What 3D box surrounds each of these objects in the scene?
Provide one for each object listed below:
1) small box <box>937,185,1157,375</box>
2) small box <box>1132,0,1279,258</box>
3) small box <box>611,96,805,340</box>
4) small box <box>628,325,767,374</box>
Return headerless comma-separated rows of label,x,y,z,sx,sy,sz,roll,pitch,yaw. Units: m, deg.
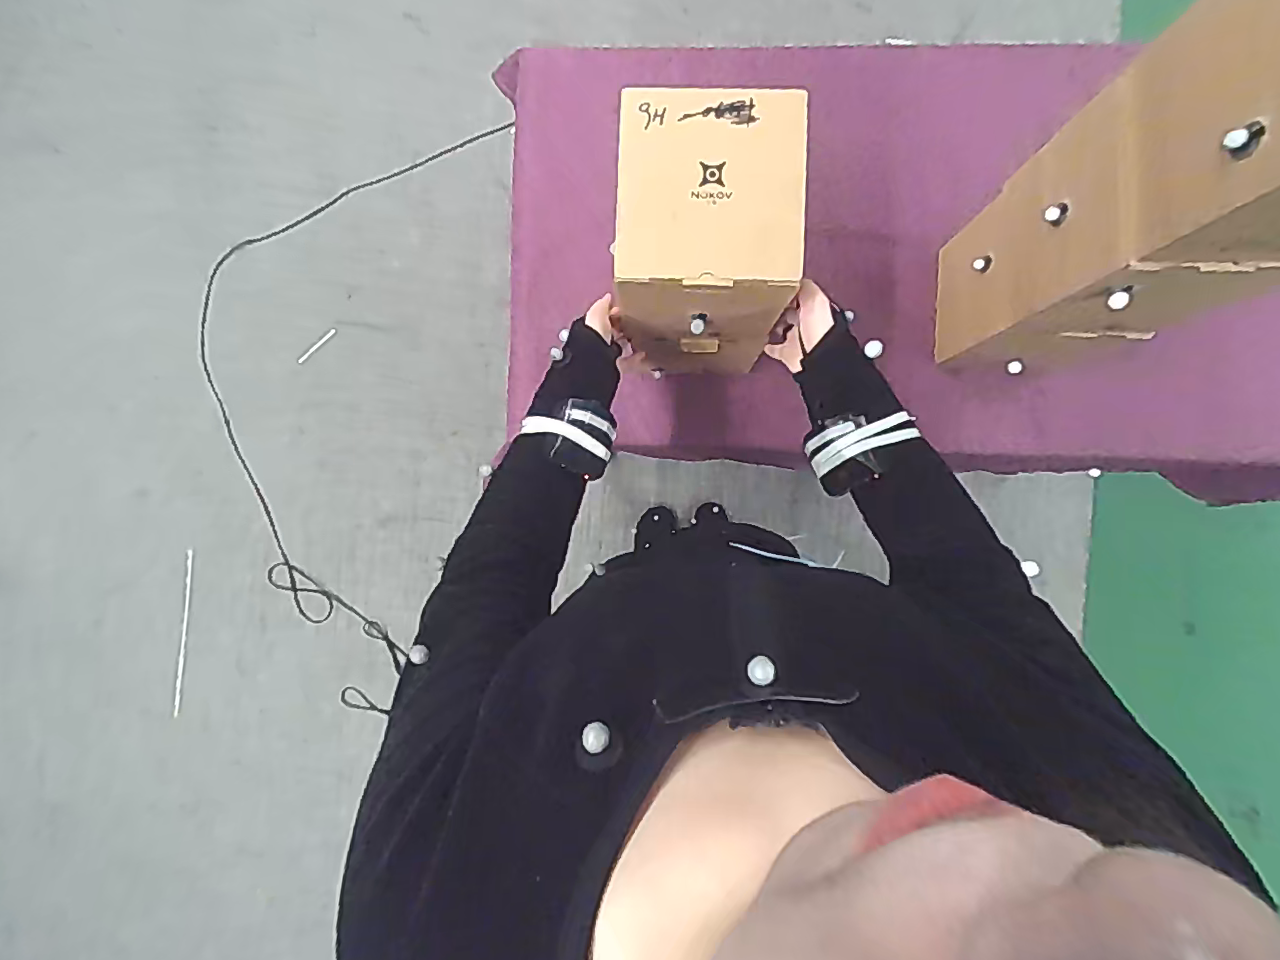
small box,0.507,-0.245,0.697,0.168,0.176,0.179,4,88,3
small box,0.489,-0.267,0.370,0.168,0.176,0.179,1,87,2
small box,0.063,-0.250,0.554,0.168,0.176,0.179,2,89,2
small box,0.074,-0.242,0.718,0.168,0.176,0.179,1,87,2
